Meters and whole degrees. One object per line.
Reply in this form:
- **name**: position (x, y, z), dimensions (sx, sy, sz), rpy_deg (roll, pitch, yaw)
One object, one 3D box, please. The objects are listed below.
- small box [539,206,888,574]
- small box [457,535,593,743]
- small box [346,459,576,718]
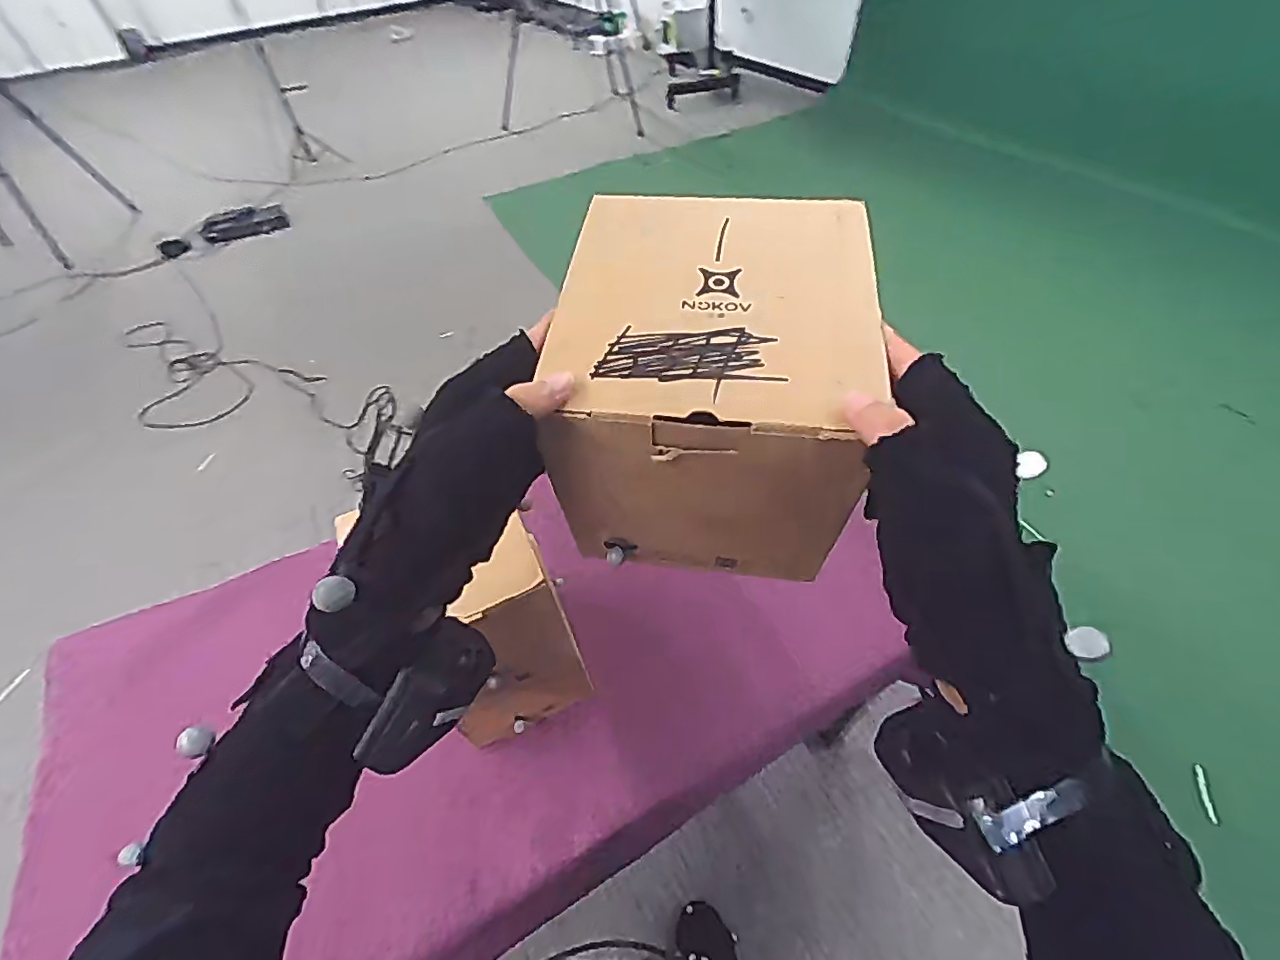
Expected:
- **small box**: position (0.049, -0.053, 0.358), dimensions (0.168, 0.176, 0.179), rpy_deg (6, 57, 8)
- **small box**: position (-0.173, 0.208, 0.706), dimensions (0.168, 0.176, 0.179), rpy_deg (-22, 52, -12)
- **small box**: position (-0.181, 0.115, 0.571), dimensions (0.168, 0.176, 0.179), rpy_deg (-23, 52, -13)
